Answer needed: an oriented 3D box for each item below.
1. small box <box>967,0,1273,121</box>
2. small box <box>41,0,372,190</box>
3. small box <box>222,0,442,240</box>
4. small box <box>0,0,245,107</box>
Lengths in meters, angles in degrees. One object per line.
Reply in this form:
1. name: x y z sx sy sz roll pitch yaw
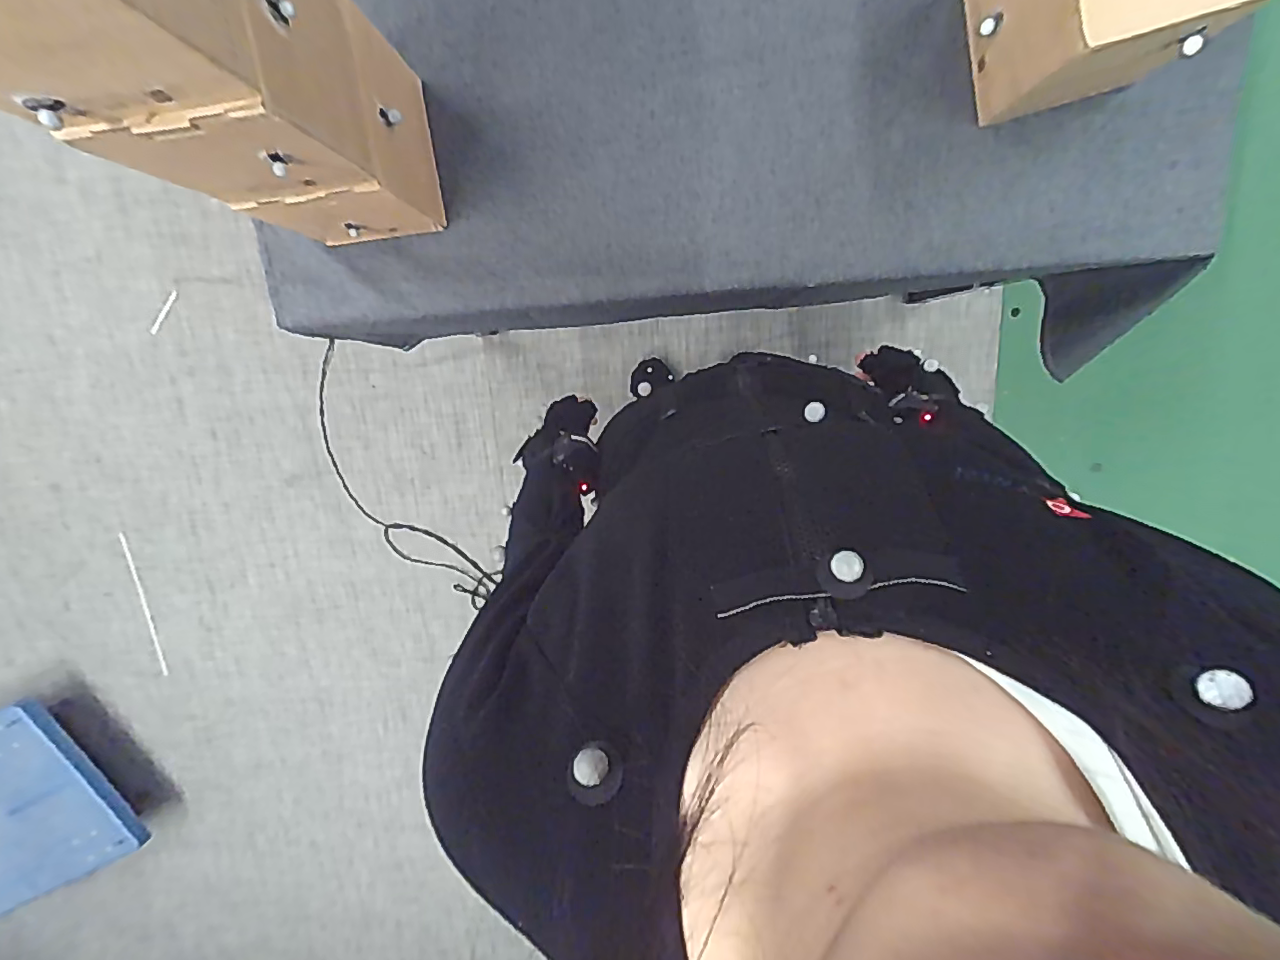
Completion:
1. small box: 0.461 -0.497 0.535 0.179 0.176 0.168 -13 101 6
2. small box: -0.350 -0.356 0.445 0.168 0.176 0.179 -5 102 3
3. small box: -0.344 -0.388 0.605 0.168 0.176 0.179 -6 102 4
4. small box: -0.357 -0.328 0.284 0.168 0.176 0.179 -7 102 3
